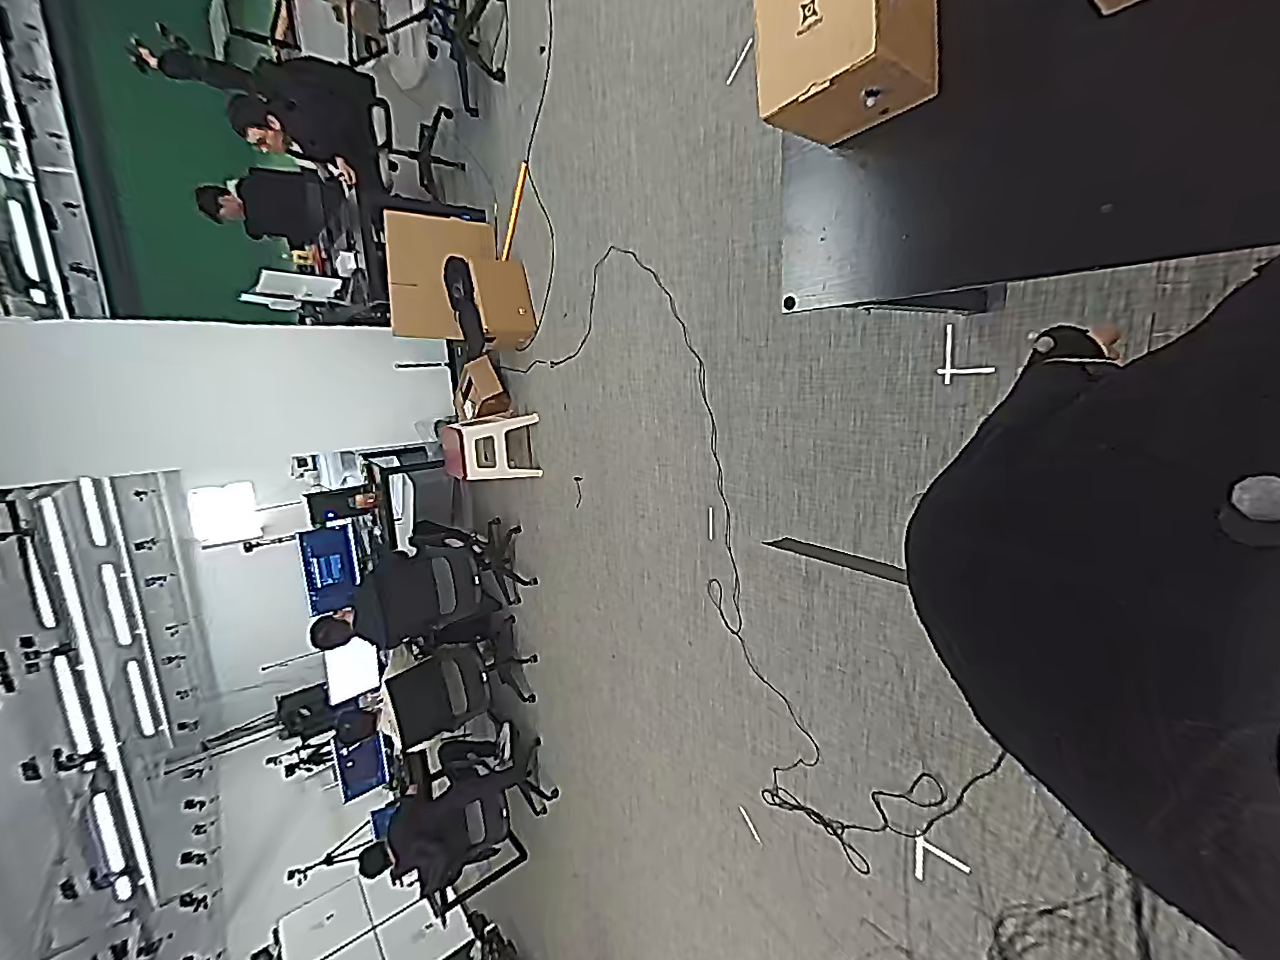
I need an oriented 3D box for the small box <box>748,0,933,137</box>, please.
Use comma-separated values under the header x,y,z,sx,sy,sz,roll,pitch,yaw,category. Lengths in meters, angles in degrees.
x,y,z,sx,sy,sz,roll,pitch,yaw,category
0.261,-0.575,0.699,0.168,0.176,0.179,4,102,50,small box
